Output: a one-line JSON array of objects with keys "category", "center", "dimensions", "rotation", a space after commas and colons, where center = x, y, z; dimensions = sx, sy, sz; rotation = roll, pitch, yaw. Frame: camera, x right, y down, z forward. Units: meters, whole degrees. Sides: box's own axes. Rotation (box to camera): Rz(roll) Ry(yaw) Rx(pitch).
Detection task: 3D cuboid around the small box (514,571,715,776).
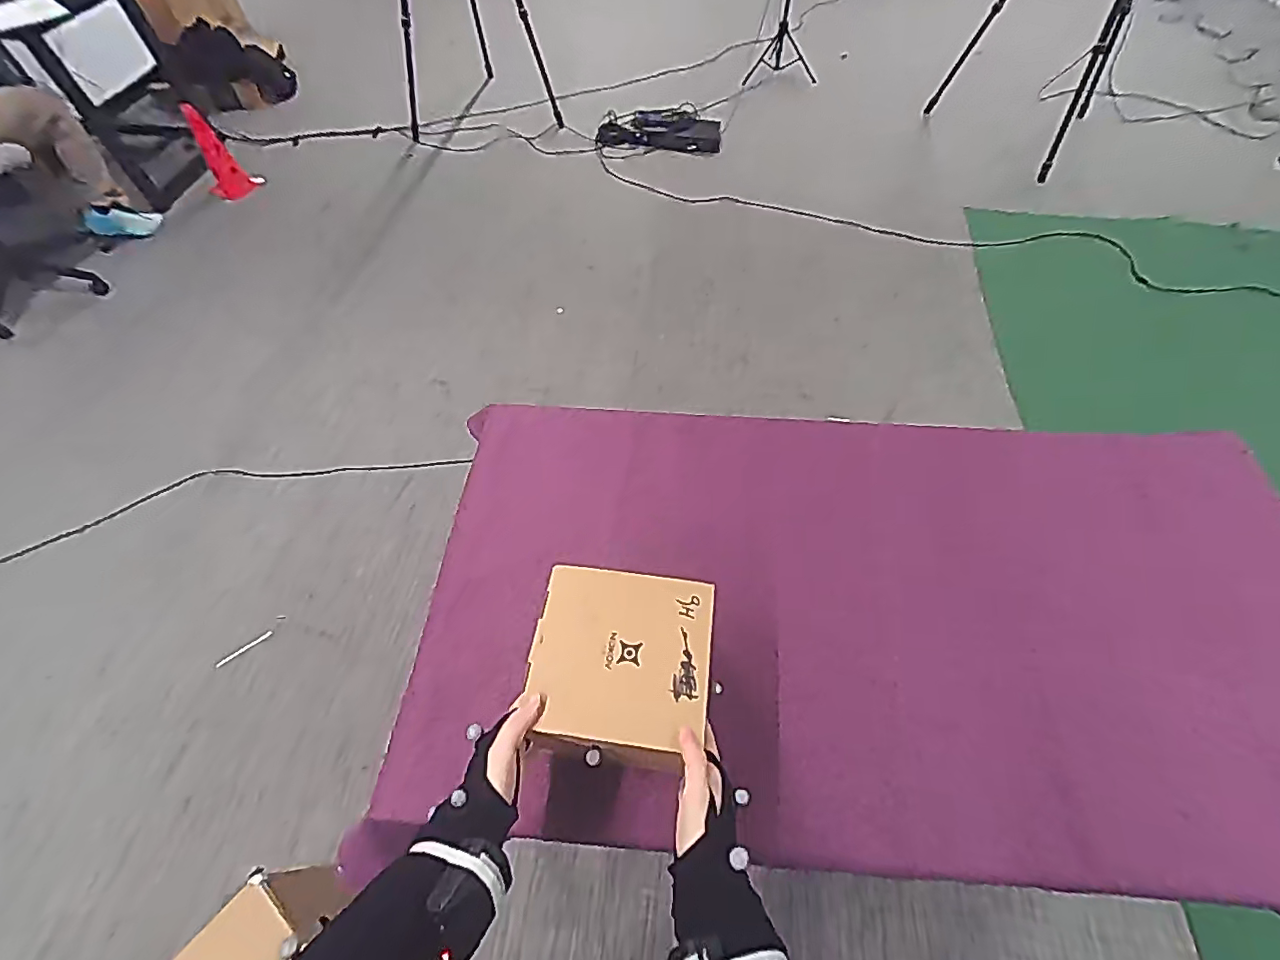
[{"category": "small box", "center": [-0.017, 0.217, 0.595], "dimensions": [0.179, 0.176, 0.168], "rotation": [6, 57, 6]}]
